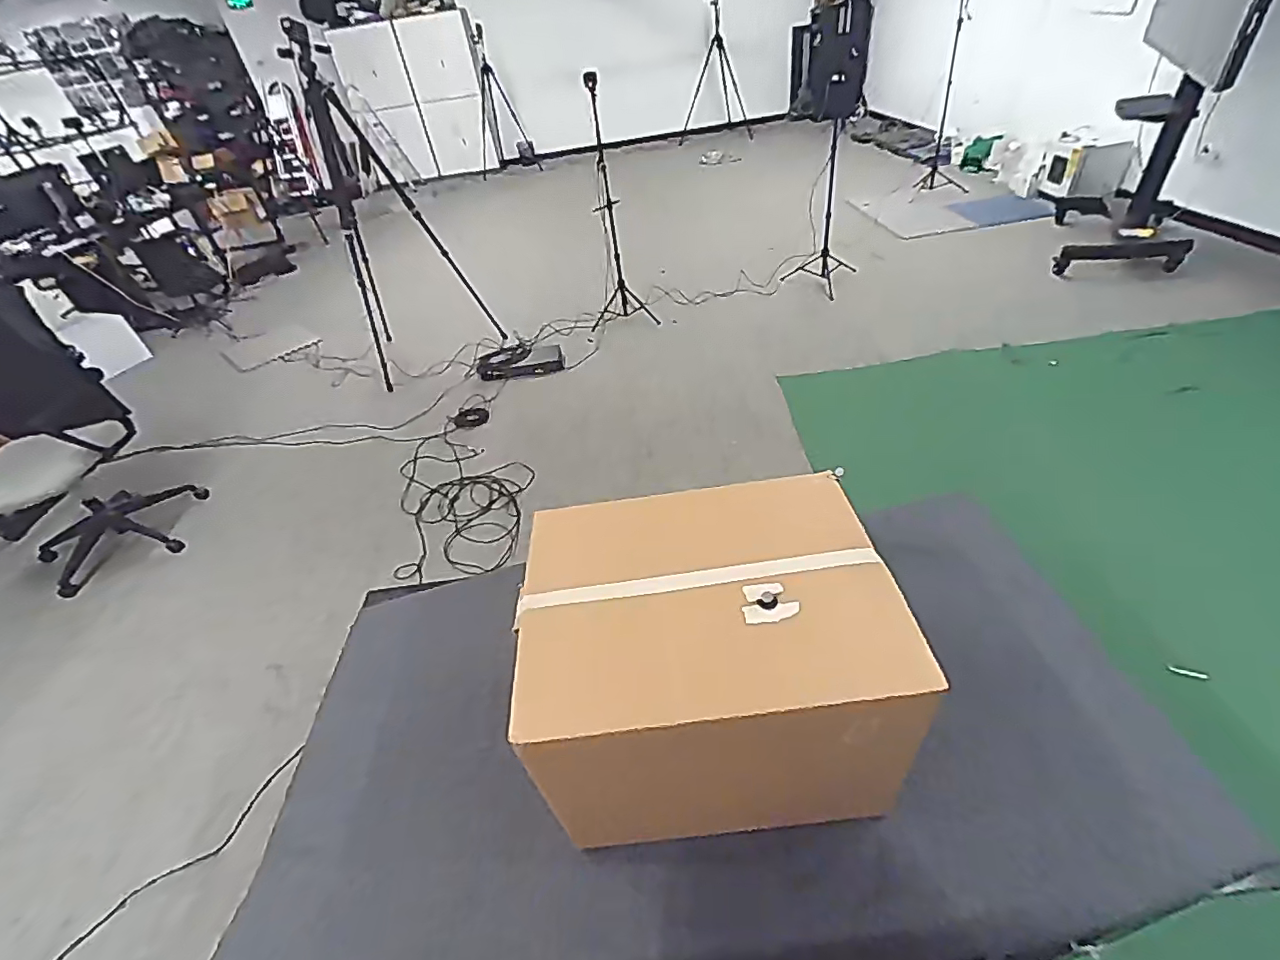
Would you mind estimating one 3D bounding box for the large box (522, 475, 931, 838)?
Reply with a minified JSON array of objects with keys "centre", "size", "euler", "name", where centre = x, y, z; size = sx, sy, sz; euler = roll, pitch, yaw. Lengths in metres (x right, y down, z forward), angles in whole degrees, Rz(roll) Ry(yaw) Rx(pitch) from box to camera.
[{"centre":[0.086,0.230,0.718],"size":[0.408,0.320,0.320],"euler":[-8,41,1],"name":"large box"}]
